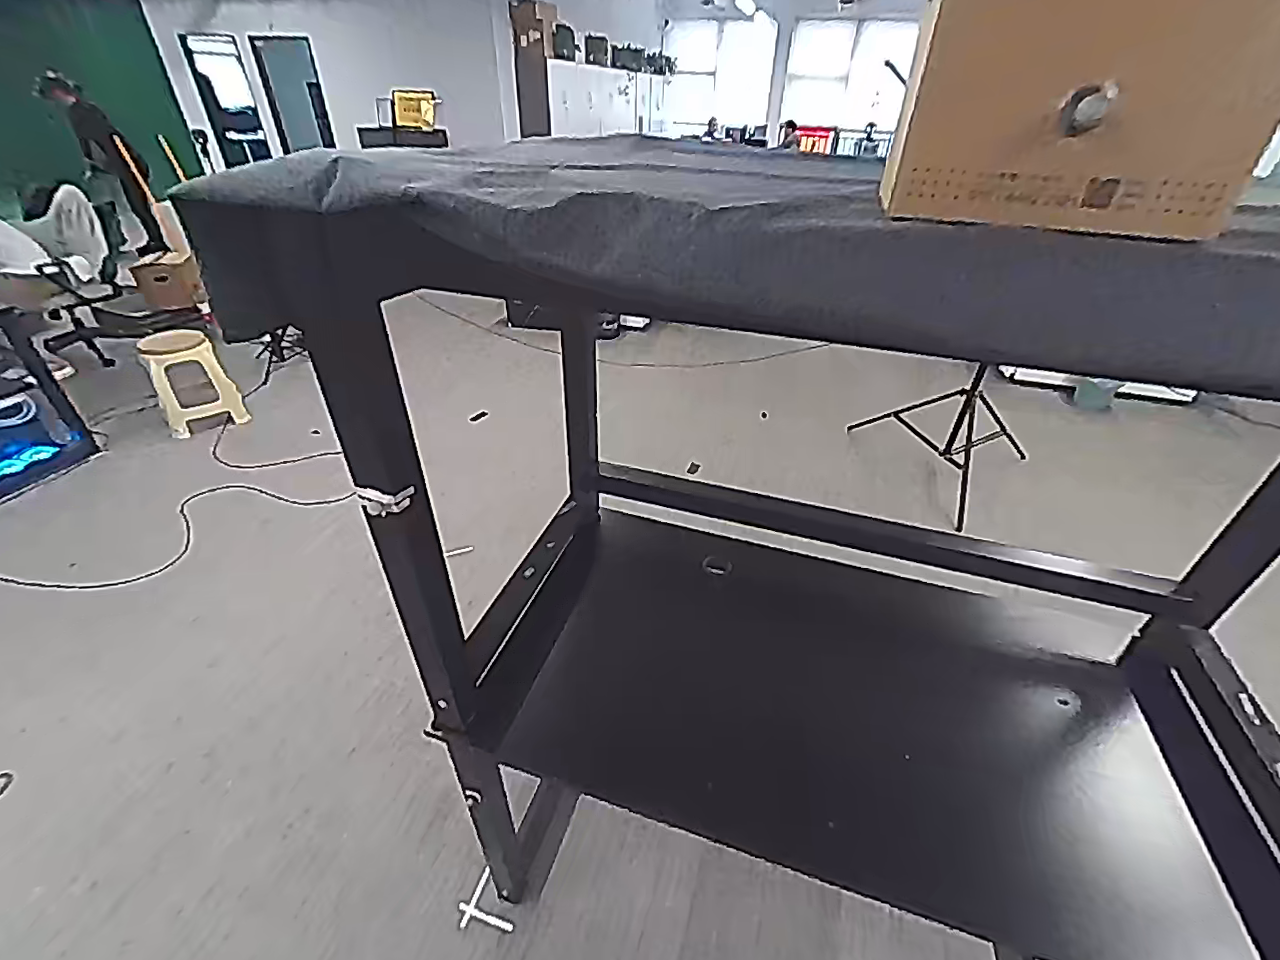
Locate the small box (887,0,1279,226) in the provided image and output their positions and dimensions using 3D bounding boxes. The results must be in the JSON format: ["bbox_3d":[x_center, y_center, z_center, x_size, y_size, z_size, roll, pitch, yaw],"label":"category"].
[{"bbox_3d":[0.257,-0.261,0.324,0.168,0.176,0.179,12,34,15],"label":"small box"}]
